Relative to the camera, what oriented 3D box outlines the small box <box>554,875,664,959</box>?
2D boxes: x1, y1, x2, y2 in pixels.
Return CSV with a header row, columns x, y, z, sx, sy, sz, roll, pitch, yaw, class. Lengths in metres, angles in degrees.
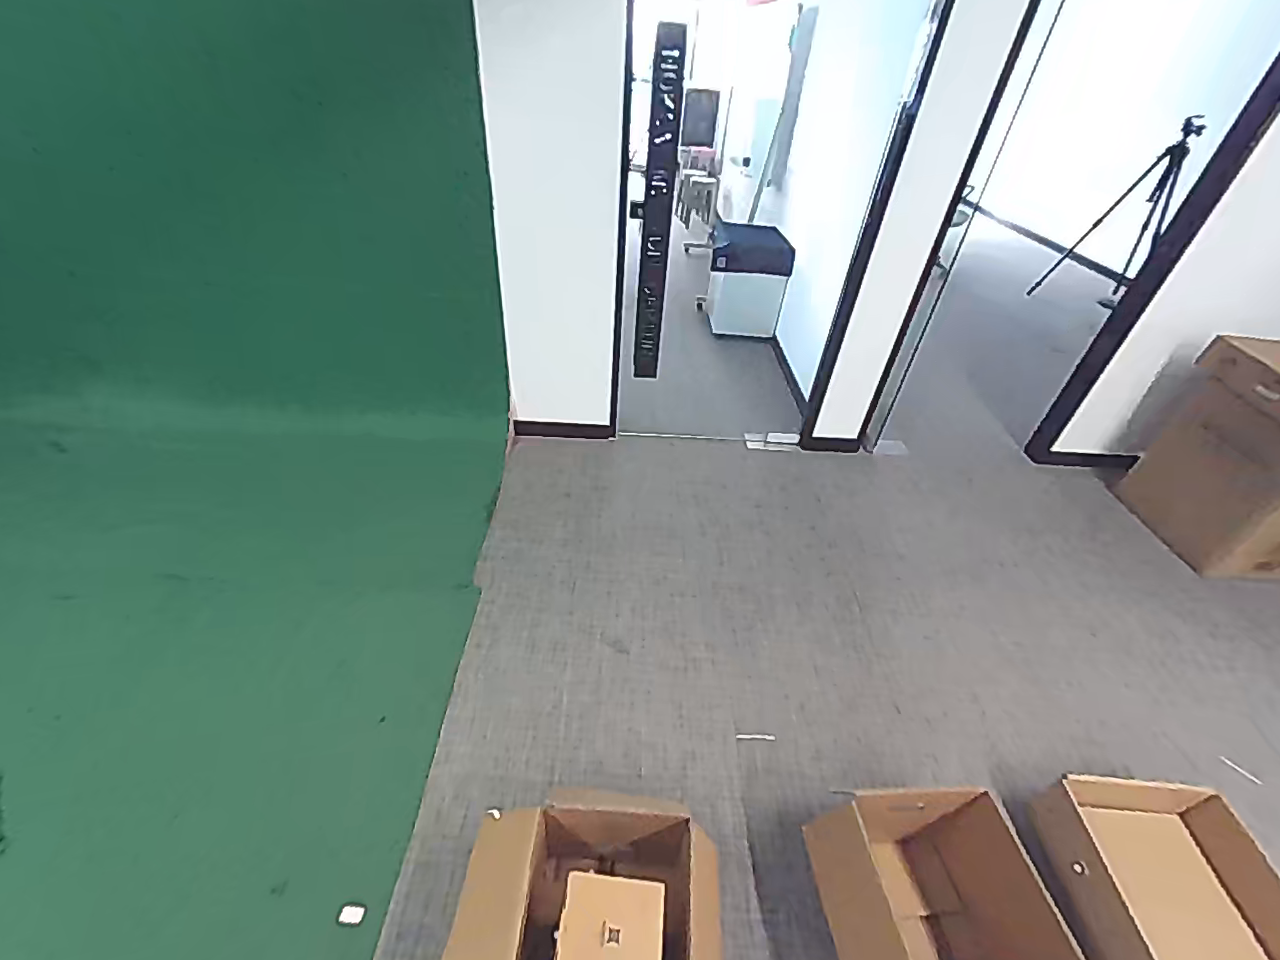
x,y,z,sx,sy,sz,roll,pitch,yaw,class
-0.059,0.829,0.952,0.179,0.176,0.168,7,38,0,small box
